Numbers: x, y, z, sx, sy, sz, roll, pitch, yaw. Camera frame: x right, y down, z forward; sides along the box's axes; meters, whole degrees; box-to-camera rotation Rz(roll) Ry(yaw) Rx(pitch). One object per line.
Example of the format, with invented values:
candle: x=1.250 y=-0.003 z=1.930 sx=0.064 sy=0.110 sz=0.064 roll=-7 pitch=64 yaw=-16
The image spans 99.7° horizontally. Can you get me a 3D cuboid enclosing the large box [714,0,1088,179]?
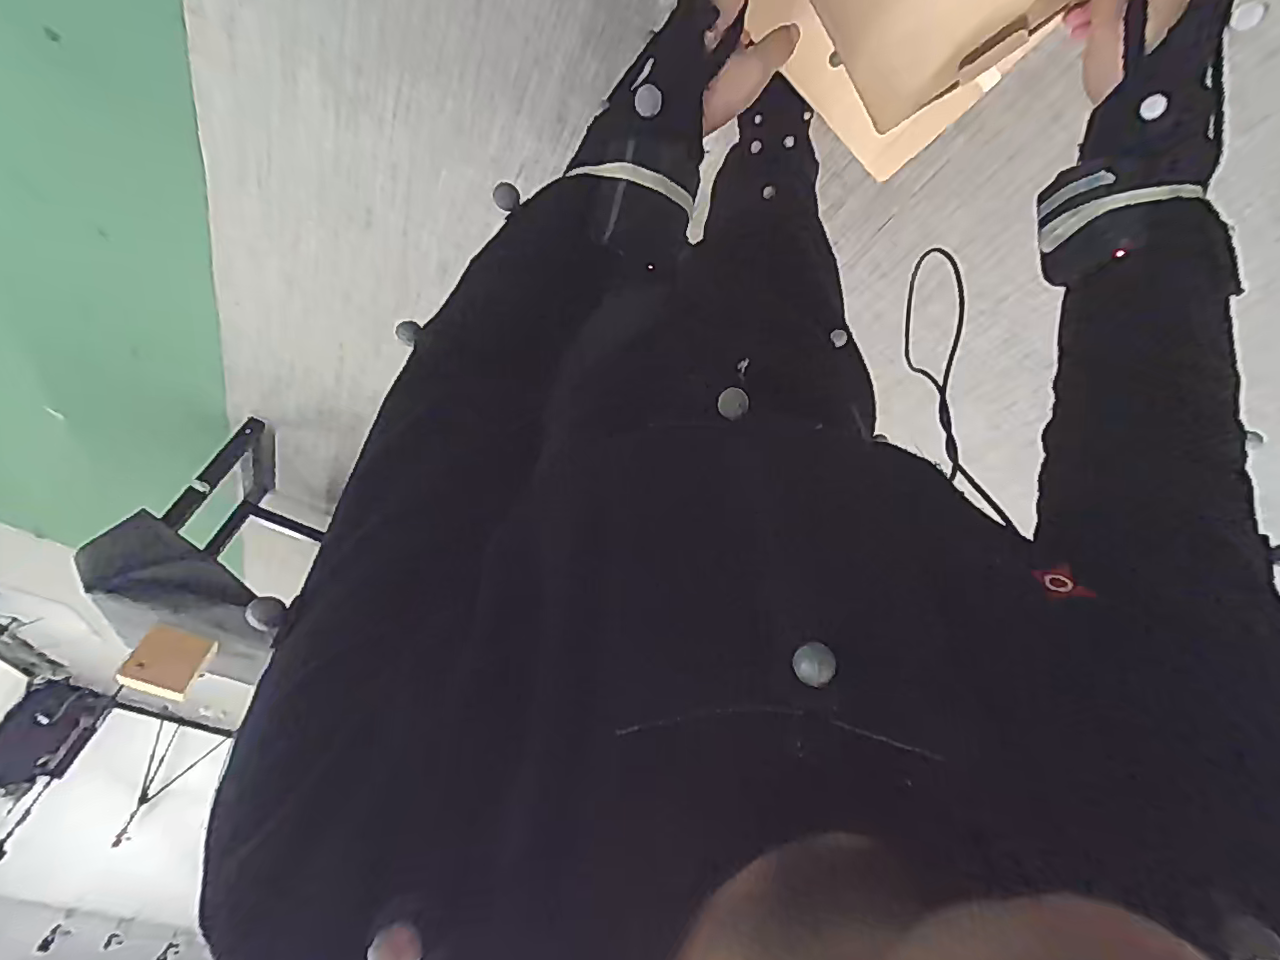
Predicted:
large box: x=0.305 y=-0.699 z=0.687 sx=0.408 sy=0.320 sz=0.320 roll=31 pitch=138 yaw=-23

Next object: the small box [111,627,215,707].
small box: x=-1.430 y=0.566 z=1.633 sx=0.179 sy=0.176 sz=0.168 roll=32 pitch=138 yaw=-22

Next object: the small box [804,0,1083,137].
small box: x=0.205 y=-0.410 z=0.388 sx=0.168 sy=0.176 sz=0.179 roll=-24 pitch=138 yaw=39
